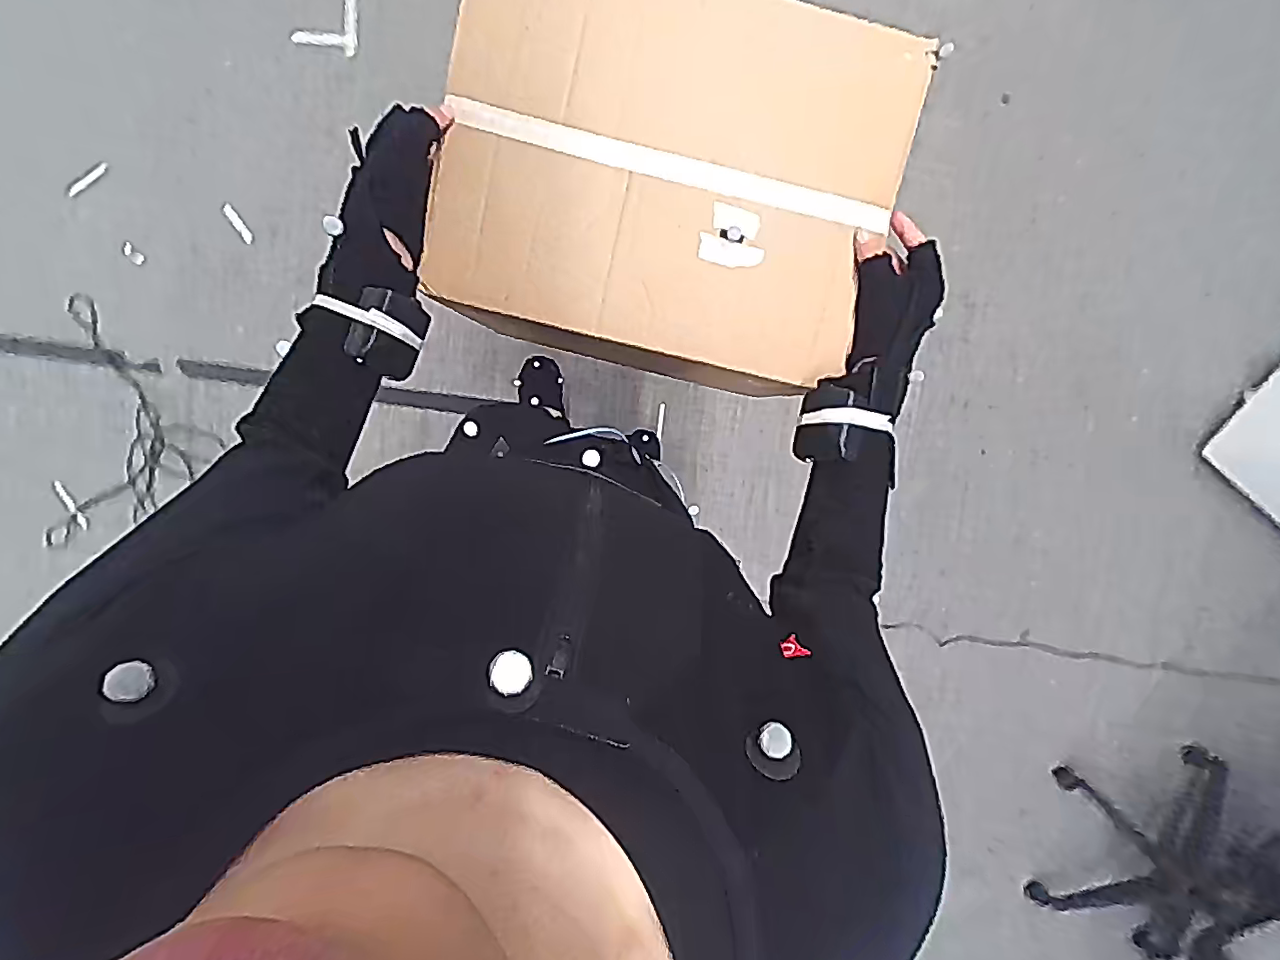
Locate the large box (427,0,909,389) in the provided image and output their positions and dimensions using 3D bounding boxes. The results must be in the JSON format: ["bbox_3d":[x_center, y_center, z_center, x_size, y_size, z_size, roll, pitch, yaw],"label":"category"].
[{"bbox_3d":[0.015,-0.301,0.643,0.408,0.320,0.320,12,99,-4],"label":"large box"}]
